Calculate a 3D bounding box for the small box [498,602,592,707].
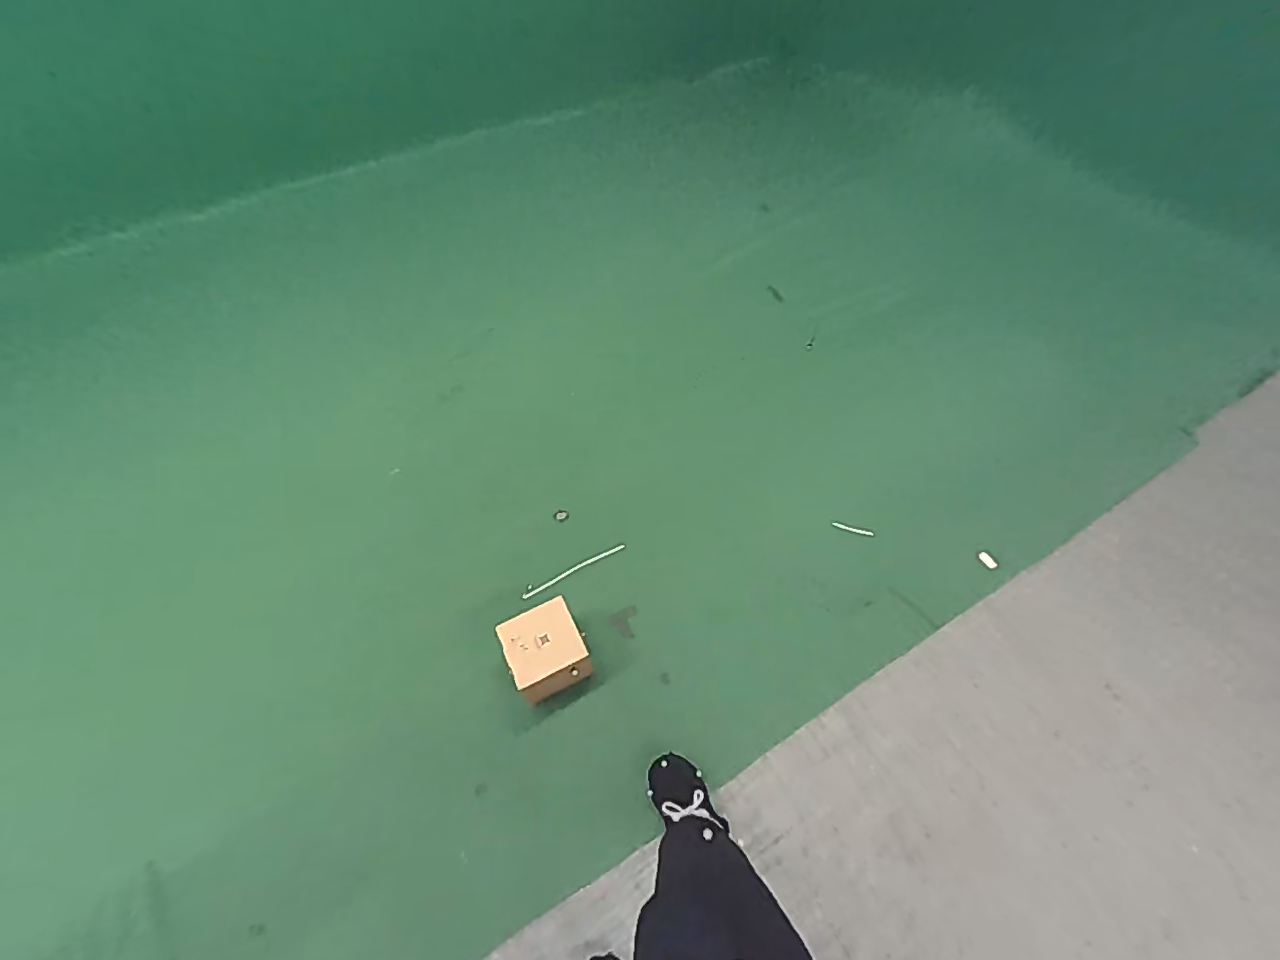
[{"bbox_3d":[-0.225,0.433,1.332,0.179,0.176,0.168,-24,59,-13],"label":"small box"}]
